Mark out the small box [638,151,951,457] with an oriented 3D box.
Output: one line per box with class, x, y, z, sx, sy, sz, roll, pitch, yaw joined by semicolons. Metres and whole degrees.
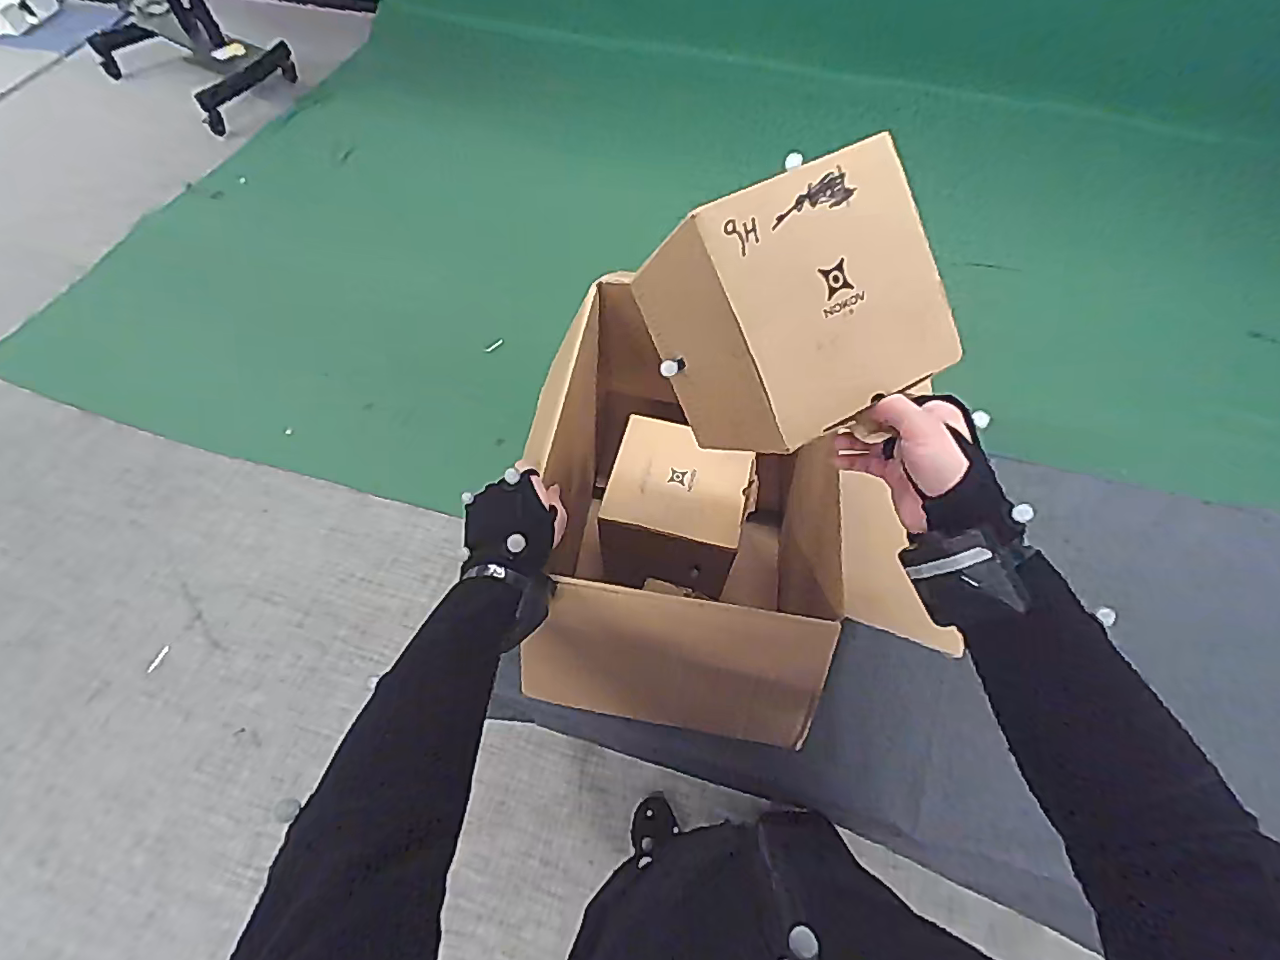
small box;0.119;-0.135;0.470;0.168;0.176;0.179;-27;100;-12
